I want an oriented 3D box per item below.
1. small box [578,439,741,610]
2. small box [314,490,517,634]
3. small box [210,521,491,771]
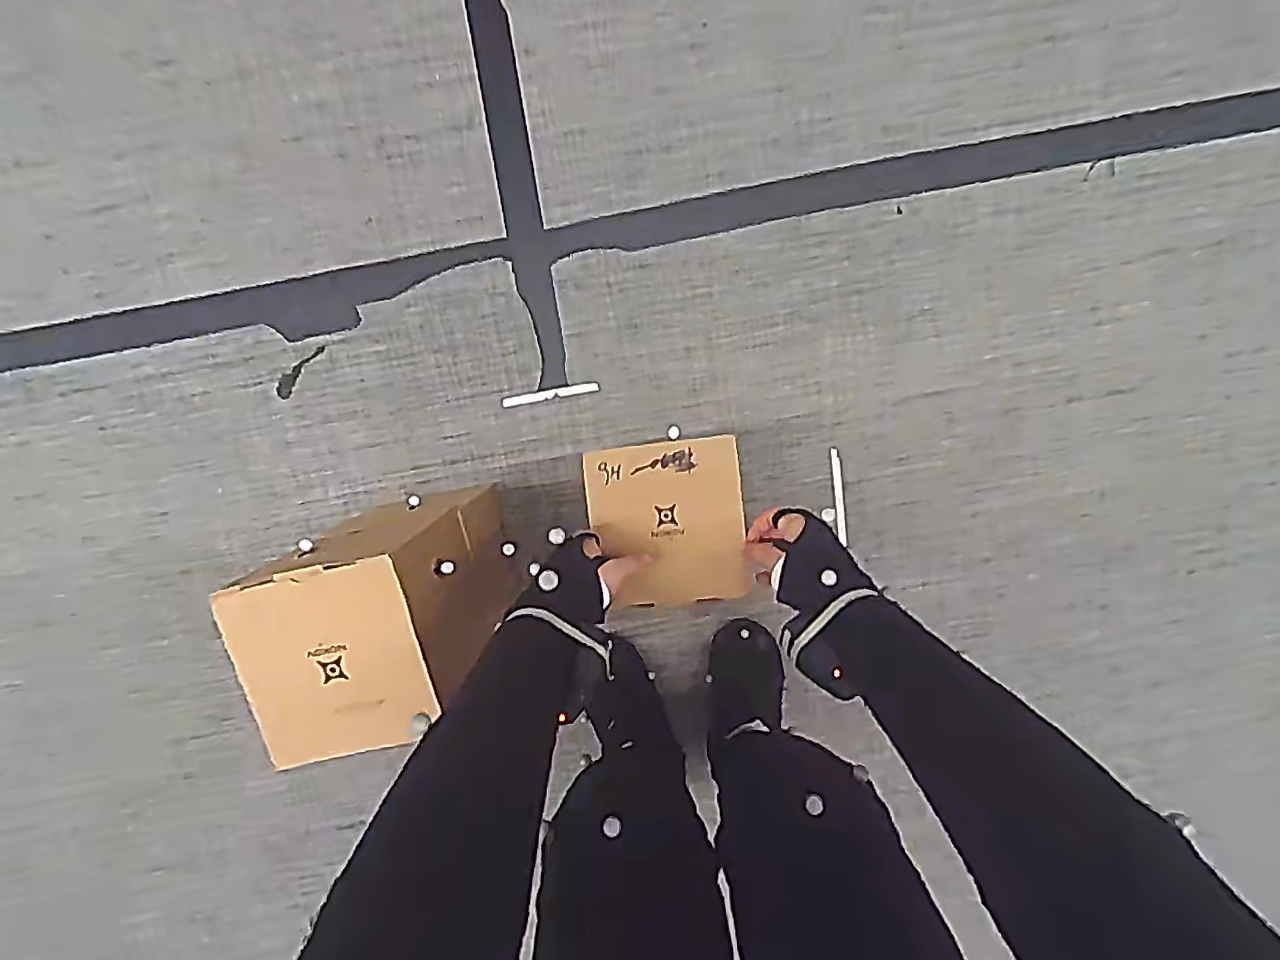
[{"bbox_3d":[0.031,0.044,0.660,0.168,0.176,0.179,-6,94,6],"label":"small box"},{"bbox_3d":[-0.278,0.120,0.712,0.179,0.176,0.168,-12,100,0],"label":"small box"},{"bbox_3d":[-0.271,0.150,0.552,0.168,0.176,0.179,-13,101,3],"label":"small box"}]
